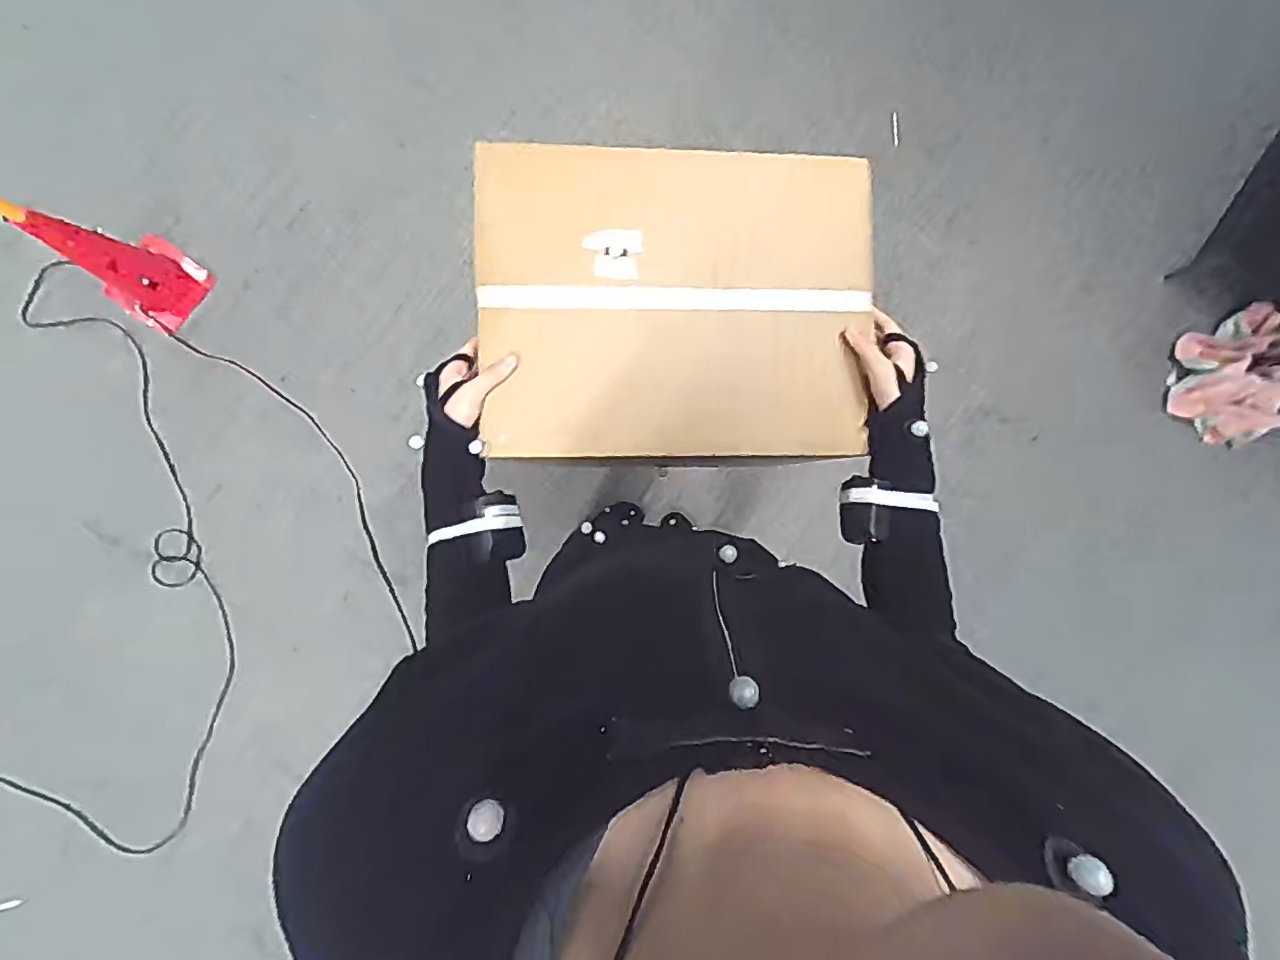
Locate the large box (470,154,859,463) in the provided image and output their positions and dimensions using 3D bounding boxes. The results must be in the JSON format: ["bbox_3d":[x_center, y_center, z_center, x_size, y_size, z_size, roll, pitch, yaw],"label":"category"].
[{"bbox_3d":[0.022,-0.185,0.711,0.408,0.320,0.320,-2,89,-4],"label":"large box"}]
